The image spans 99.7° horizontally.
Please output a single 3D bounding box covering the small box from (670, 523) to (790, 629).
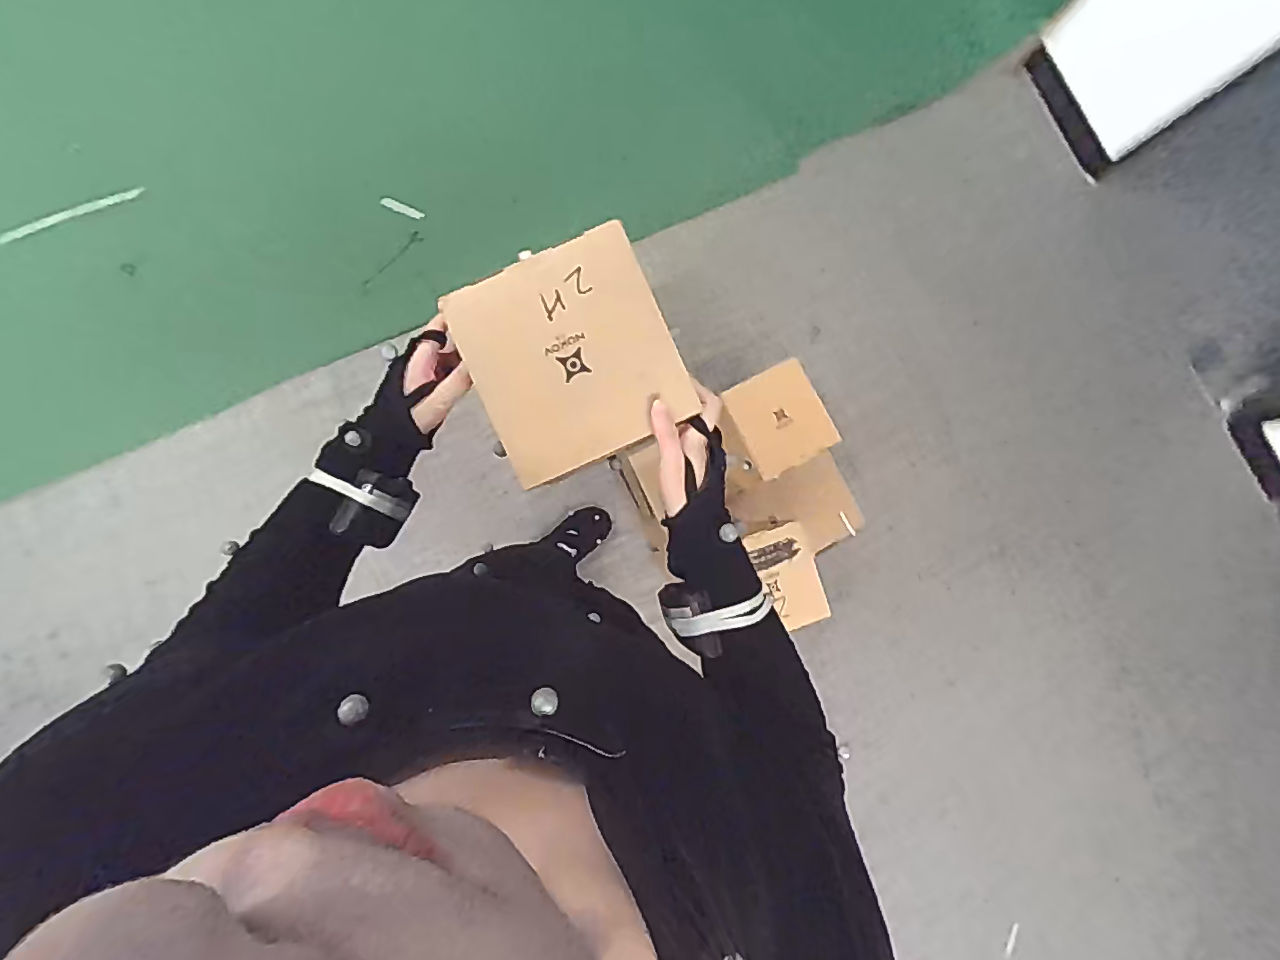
[{"bbox_3d":[0.185,0.196,1.156,0.179,0.176,0.168,-22,88,-10],"label":"small box"}]

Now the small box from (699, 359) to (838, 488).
[{"bbox_3d":[0.234,-0.100,1.033,0.168,0.176,0.179,-27,88,-11],"label":"small box"}]

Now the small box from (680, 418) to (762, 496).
[{"bbox_3d":[0.210,-0.073,1.192,0.168,0.176,0.179,-28,87,-11],"label":"small box"}]
